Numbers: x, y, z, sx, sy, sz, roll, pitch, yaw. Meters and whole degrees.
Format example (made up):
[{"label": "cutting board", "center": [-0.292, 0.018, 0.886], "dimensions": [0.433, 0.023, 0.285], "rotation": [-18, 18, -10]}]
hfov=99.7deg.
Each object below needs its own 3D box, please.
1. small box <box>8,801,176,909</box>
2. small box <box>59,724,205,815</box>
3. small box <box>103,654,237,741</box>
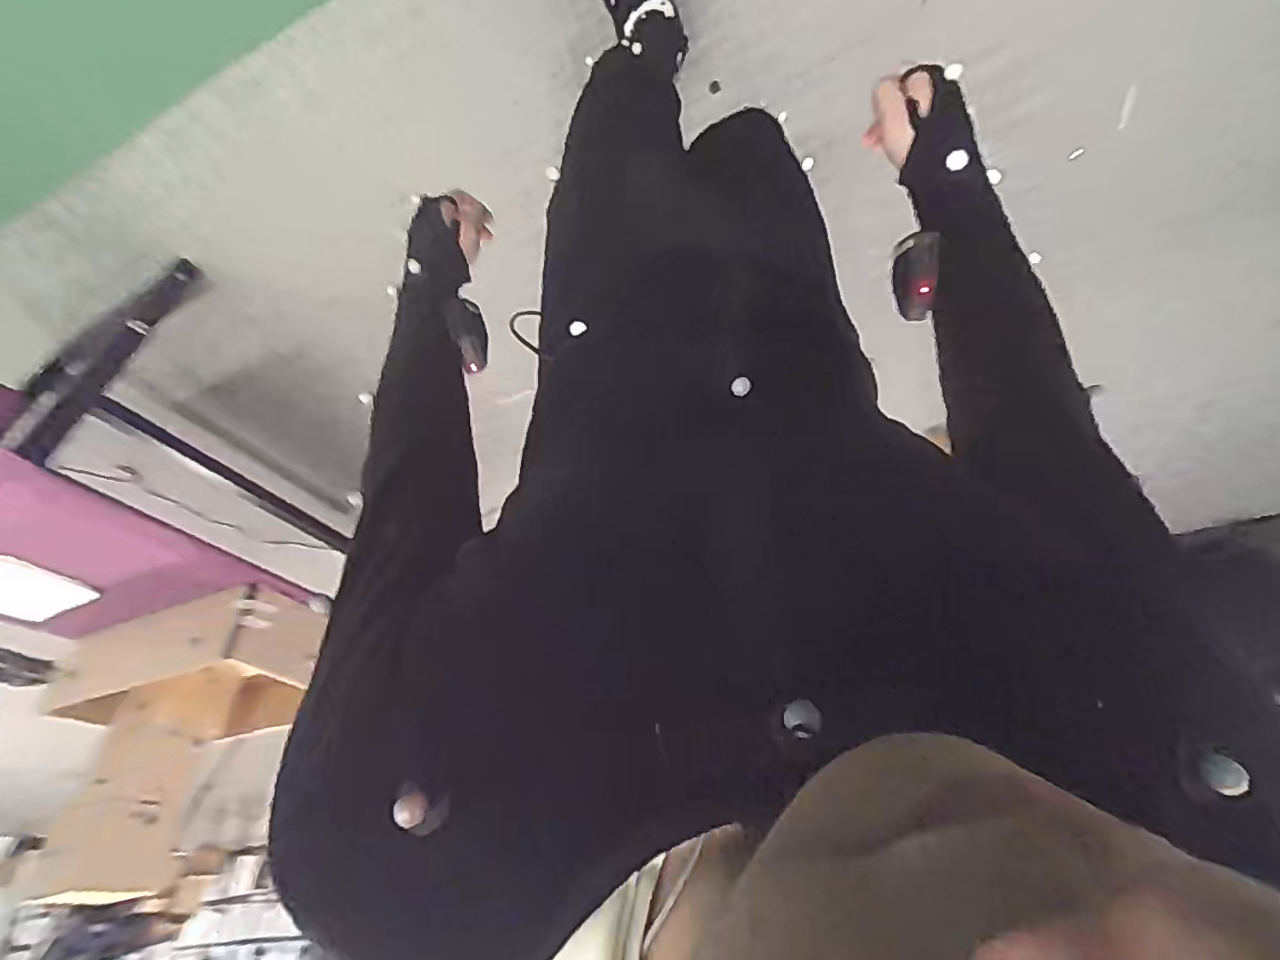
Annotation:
[{"label": "small box", "center": [-1.179, 0.819, 1.181], "dimensions": [0.179, 0.176, 0.168], "rotation": [-21, 137, 15]}, {"label": "small box", "center": [-1.192, 0.698, 1.289], "dimensions": [0.179, 0.176, 0.168], "rotation": [-20, 137, 16]}, {"label": "small box", "center": [-1.198, 0.573, 1.395], "dimensions": [0.179, 0.176, 0.168], "rotation": [-20, 137, 15]}]
